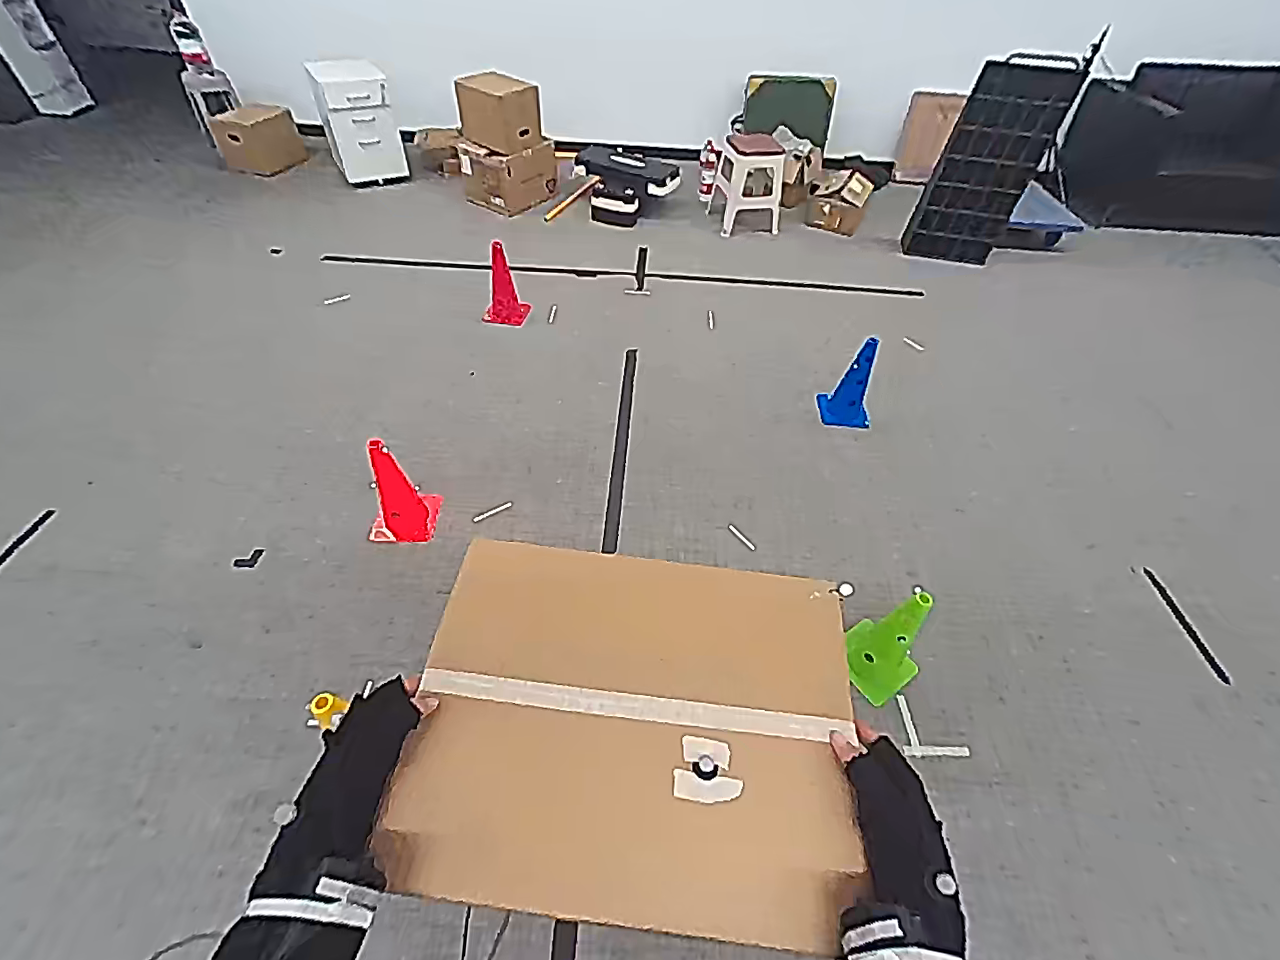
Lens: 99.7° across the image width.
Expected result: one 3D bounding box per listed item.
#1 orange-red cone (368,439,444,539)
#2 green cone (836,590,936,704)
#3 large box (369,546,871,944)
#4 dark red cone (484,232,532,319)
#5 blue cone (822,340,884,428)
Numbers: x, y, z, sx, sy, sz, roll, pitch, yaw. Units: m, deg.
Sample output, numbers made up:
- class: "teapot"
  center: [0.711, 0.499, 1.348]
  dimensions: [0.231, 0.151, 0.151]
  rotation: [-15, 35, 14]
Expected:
- class: "orange-red cone"
  center: [-0.776, 0.009, 1.703]
  dimensions: [0.198, 0.360, 0.199]
  rotation: [1, 50, -1]
- class: "green cone"
  center: [0.685, 0.408, 1.439]
  dimensions: [0.202, 0.368, 0.200]
  rotation: [-25, 55, -25]
- class: "large box"
  center: [-0.012, 0.305, 0.626]
  dimensions: [0.408, 0.320, 0.320]
  rotation: [7, 53, 2]
- class: "dark red cone"
  center: [-0.640, -0.967, 2.552]
  dimensions: [0.201, 0.394, 0.202]
  rotation: [9, 48, 3]
- class: "blue cone"
  center: [0.893, -0.402, 2.201]
  dimensions: [0.192, 0.380, 0.193]
  rotation: [7, 48, 1]
